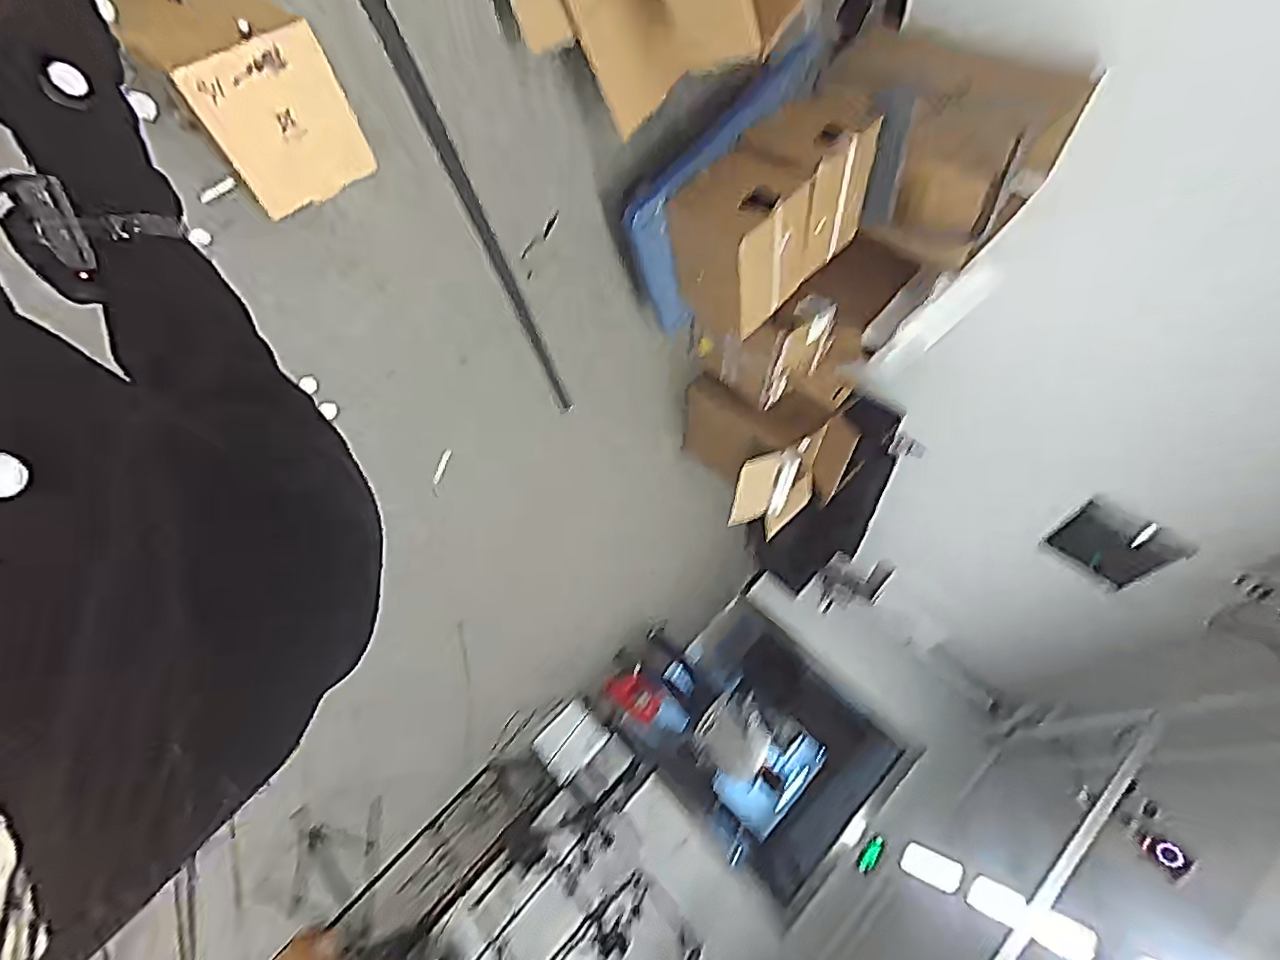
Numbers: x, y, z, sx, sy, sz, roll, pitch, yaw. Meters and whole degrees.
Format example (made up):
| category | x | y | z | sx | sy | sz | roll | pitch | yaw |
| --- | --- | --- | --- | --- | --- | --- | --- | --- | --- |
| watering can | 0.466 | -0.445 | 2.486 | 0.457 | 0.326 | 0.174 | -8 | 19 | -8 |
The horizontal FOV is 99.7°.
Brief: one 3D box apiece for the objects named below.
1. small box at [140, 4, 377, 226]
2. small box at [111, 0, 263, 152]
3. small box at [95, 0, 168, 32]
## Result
| category | x | y | z | sx | sy | sz | roll | pitch | yaw |
| --- | --- | --- | --- | --- | --- | --- | --- | --- | --- |
| small box | -0.498 | -0.485 | 0.721 | 0.168 | 0.176 | 0.179 | -40 | 154 | -19 |
| small box | -0.607 | -0.583 | 0.793 | 0.168 | 0.176 | 0.179 | -41 | 154 | -15 |
| small box | -0.708 | -0.693 | 0.865 | 0.179 | 0.176 | 0.168 | -43 | 154 | -14 |
